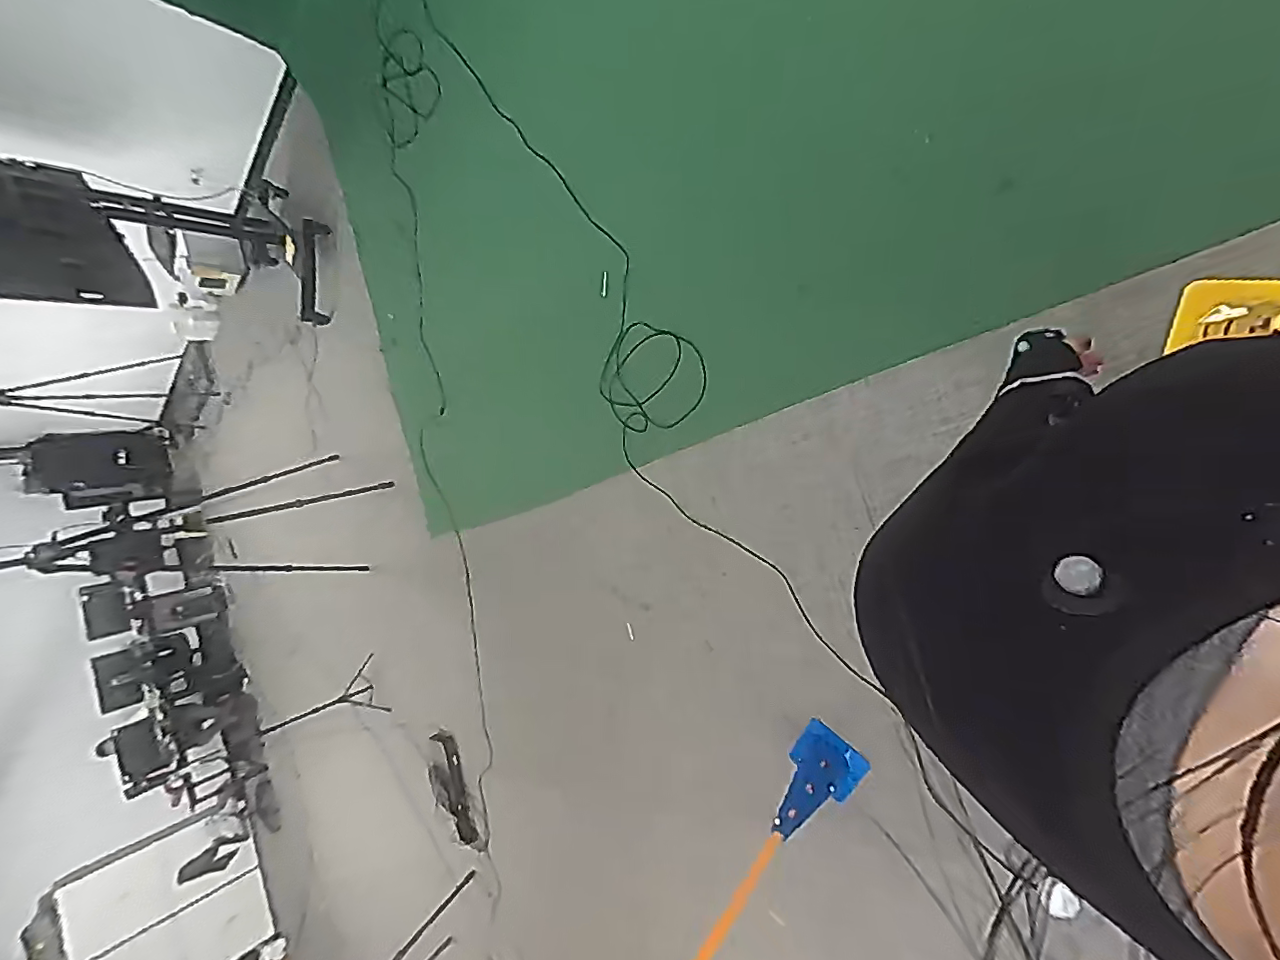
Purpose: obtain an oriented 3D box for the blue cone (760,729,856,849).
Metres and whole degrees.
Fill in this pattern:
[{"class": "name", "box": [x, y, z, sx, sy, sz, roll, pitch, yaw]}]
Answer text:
[{"class": "blue cone", "box": [0.455, 0.918, 1.547, 0.192, 0.380, 0.193, 34, 120, 29]}]
